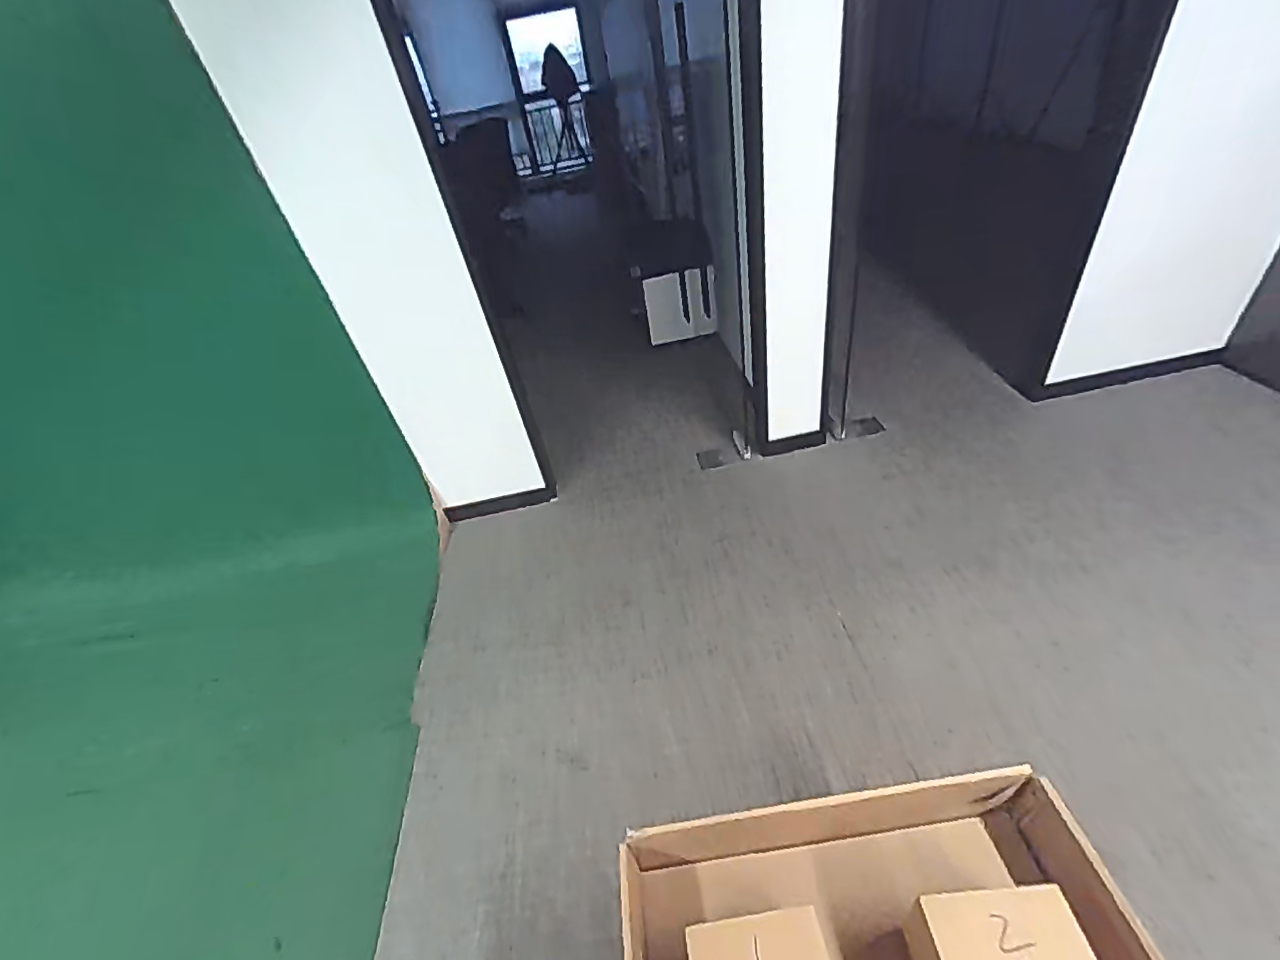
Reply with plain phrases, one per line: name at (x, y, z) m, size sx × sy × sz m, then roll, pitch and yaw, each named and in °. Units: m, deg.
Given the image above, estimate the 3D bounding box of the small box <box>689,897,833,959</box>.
small box at (0.165, 0.652, 0.664) m, size 0.168 × 0.176 × 0.179 m, roll -12°, pitch 39°, yaw 2°
